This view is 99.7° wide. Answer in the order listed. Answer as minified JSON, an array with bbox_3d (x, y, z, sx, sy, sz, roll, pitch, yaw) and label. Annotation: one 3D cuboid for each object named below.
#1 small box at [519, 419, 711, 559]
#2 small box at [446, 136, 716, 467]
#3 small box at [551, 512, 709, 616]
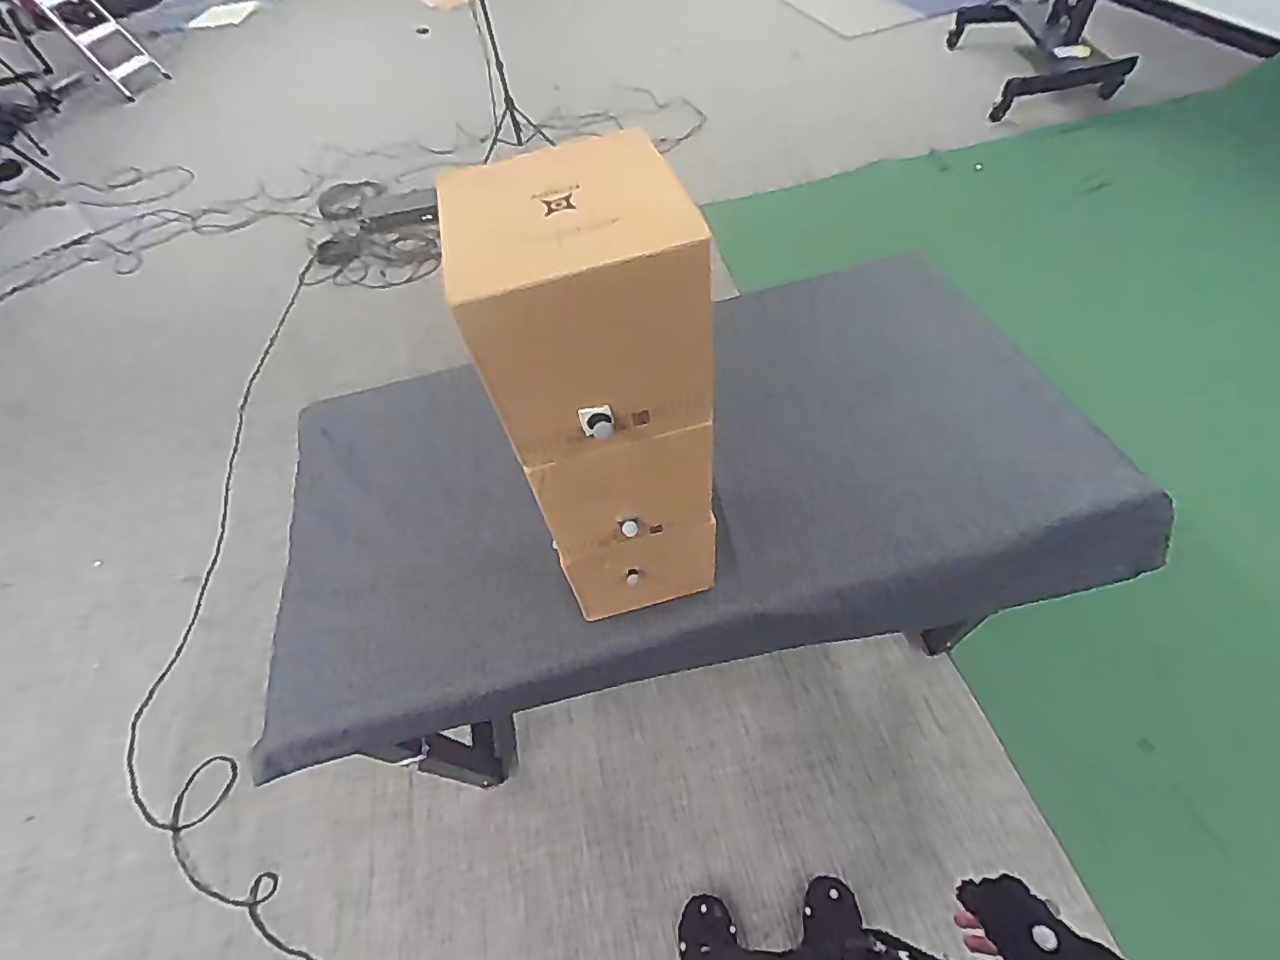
[{"bbox_3d":[-0.030,-0.044,0.568,0.168,0.176,0.179,-13,54,-3],"label":"small box"},{"bbox_3d":[-0.044,-0.140,0.439,0.168,0.176,0.179,-16,55,-3],"label":"small box"},{"bbox_3d":[-0.014,0.056,0.698,0.179,0.176,0.168,-14,54,-3],"label":"small box"}]
